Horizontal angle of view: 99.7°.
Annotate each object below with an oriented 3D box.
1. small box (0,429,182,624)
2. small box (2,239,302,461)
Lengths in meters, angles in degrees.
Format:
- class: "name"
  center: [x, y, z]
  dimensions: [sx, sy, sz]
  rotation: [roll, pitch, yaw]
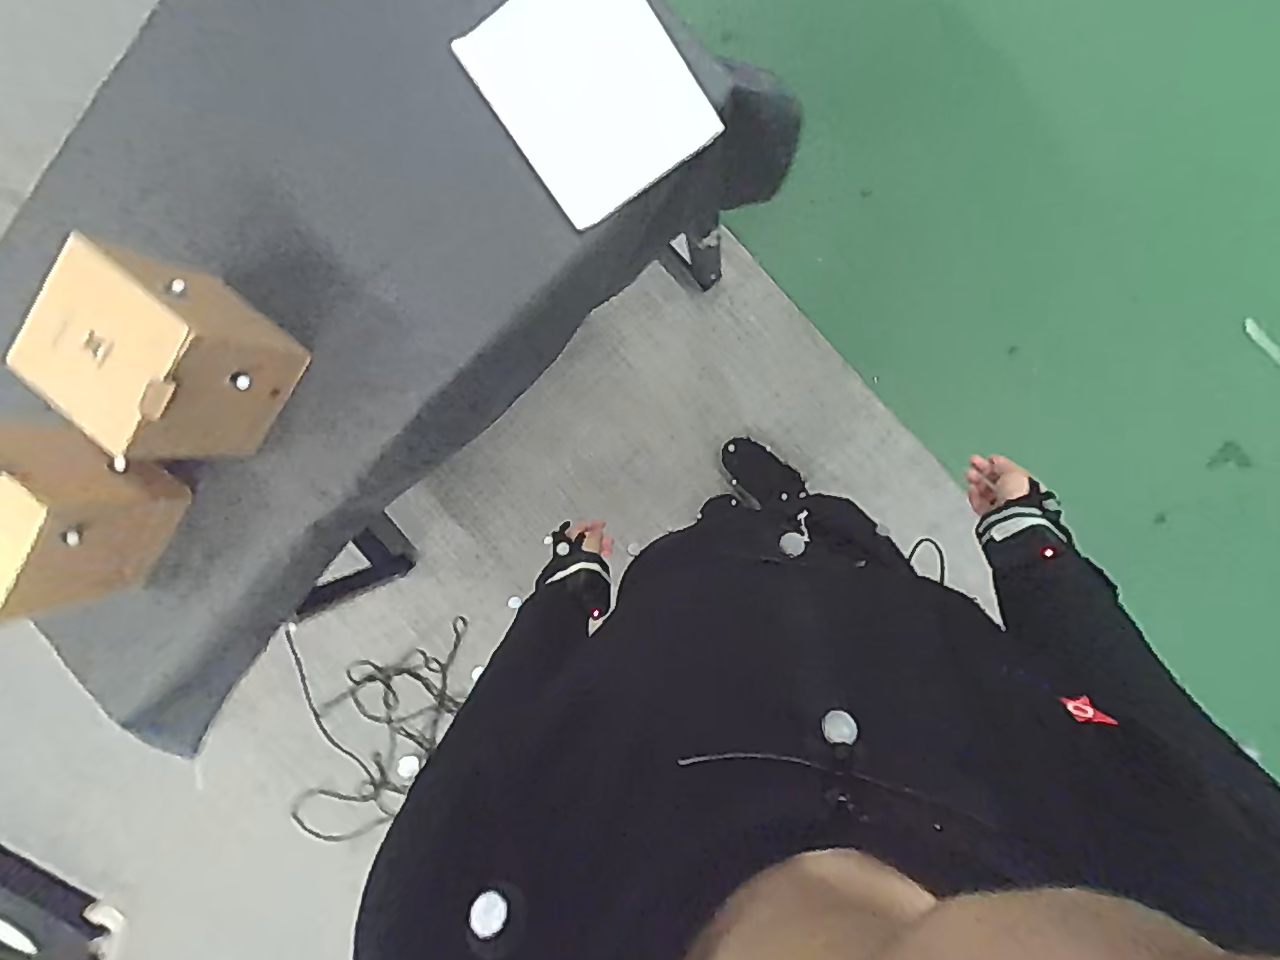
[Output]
- class: "small box"
  center: [-0.741, 0.054, 0.680]
  dimensions: [0.168, 0.176, 0.179]
  rotation: [35, 97, 5]
- class: "small box"
  center: [-0.553, -0.140, 0.638]
  dimensions: [0.179, 0.176, 0.168]
  rotation: [37, 97, 6]
